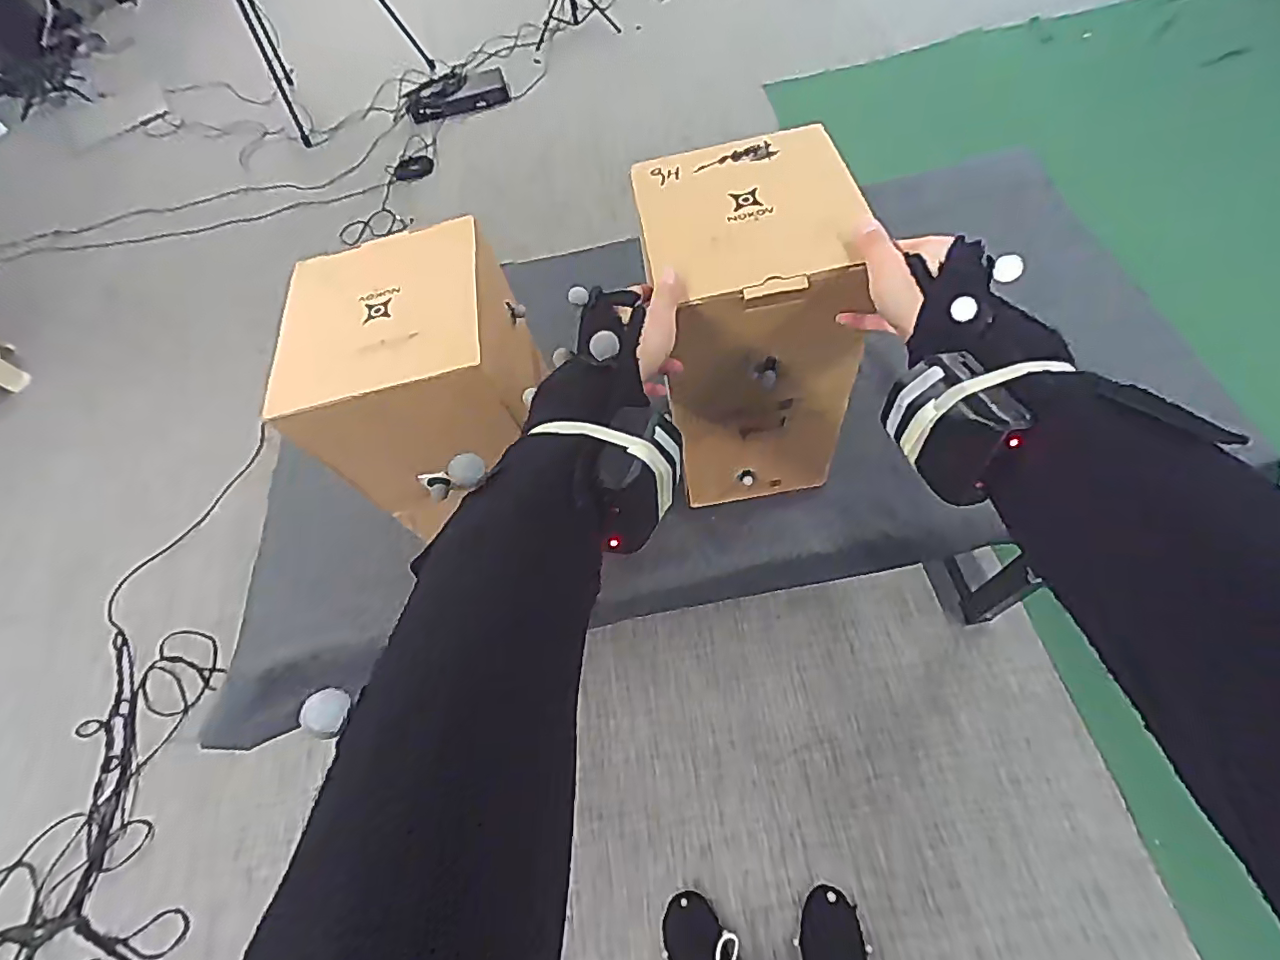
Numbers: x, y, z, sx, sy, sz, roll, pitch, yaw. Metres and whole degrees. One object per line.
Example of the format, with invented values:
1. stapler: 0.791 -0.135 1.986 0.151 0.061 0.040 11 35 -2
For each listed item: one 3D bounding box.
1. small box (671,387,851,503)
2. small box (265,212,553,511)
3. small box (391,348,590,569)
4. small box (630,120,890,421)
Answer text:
1. small box: 0.120 -0.096 0.624 0.168 0.176 0.179 -11 60 4
2. small box: -0.188 -0.097 0.487 0.168 0.176 0.179 -15 61 3
3. small box: -0.163 -0.018 0.628 0.168 0.176 0.179 -14 61 2
4. small box: 0.094 -0.169 0.480 0.168 0.176 0.179 -11 62 4
